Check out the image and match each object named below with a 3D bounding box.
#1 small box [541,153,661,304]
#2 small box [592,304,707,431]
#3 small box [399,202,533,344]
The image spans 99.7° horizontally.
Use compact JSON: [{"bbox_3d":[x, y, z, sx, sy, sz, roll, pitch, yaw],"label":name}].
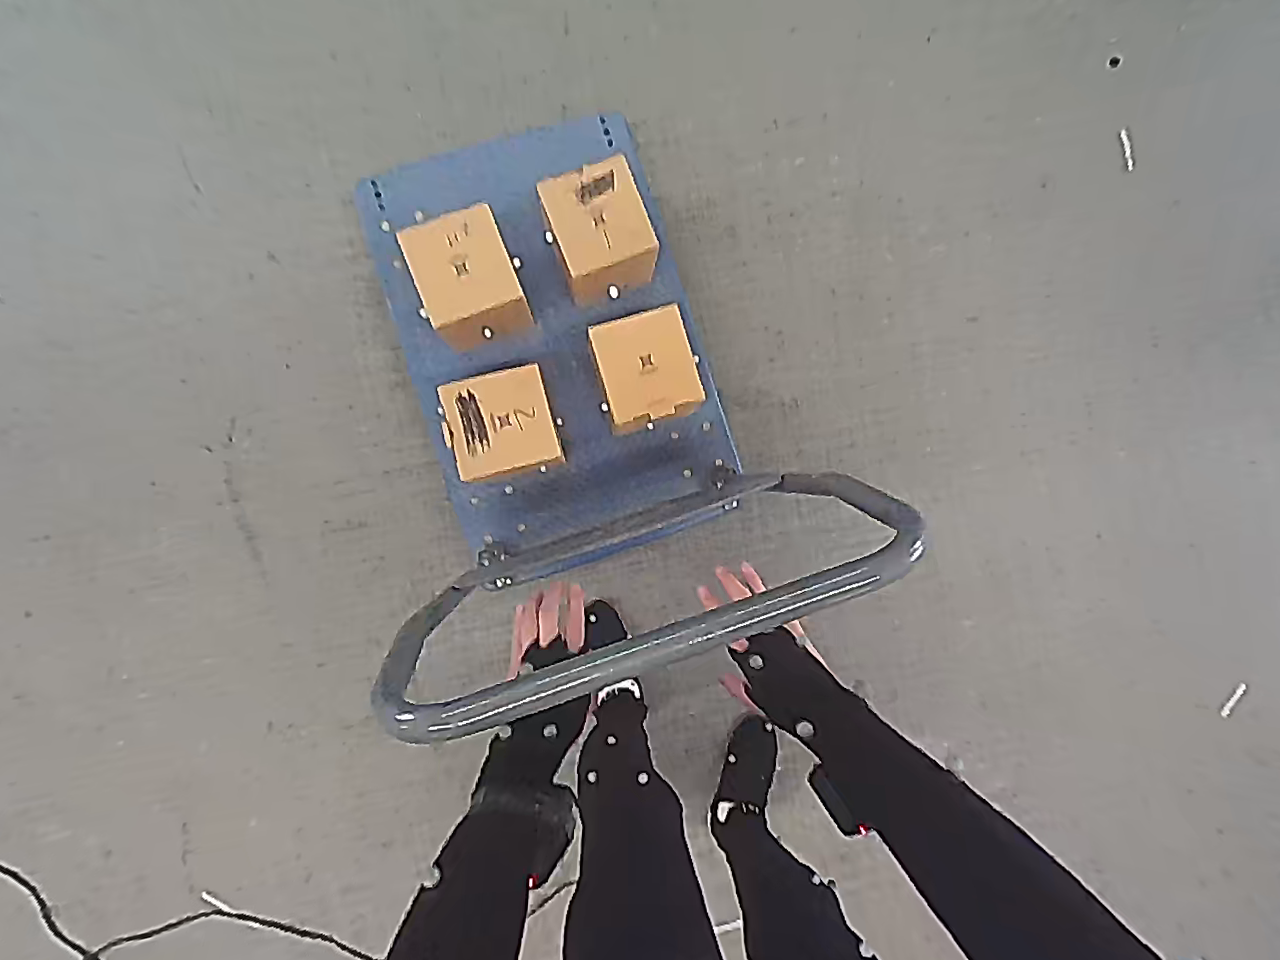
[{"bbox_3d":[-0.073,-0.459,1.013,0.168,0.176,0.179,-21,91,-3],"label":"small box"},{"bbox_3d":[0.010,-0.202,1.015,0.168,0.176,0.179,-17,90,-5],"label":"small box"},{"bbox_3d":[-0.307,-0.366,0.995,0.168,0.176,0.179,-21,90,-5],"label":"small box"}]
